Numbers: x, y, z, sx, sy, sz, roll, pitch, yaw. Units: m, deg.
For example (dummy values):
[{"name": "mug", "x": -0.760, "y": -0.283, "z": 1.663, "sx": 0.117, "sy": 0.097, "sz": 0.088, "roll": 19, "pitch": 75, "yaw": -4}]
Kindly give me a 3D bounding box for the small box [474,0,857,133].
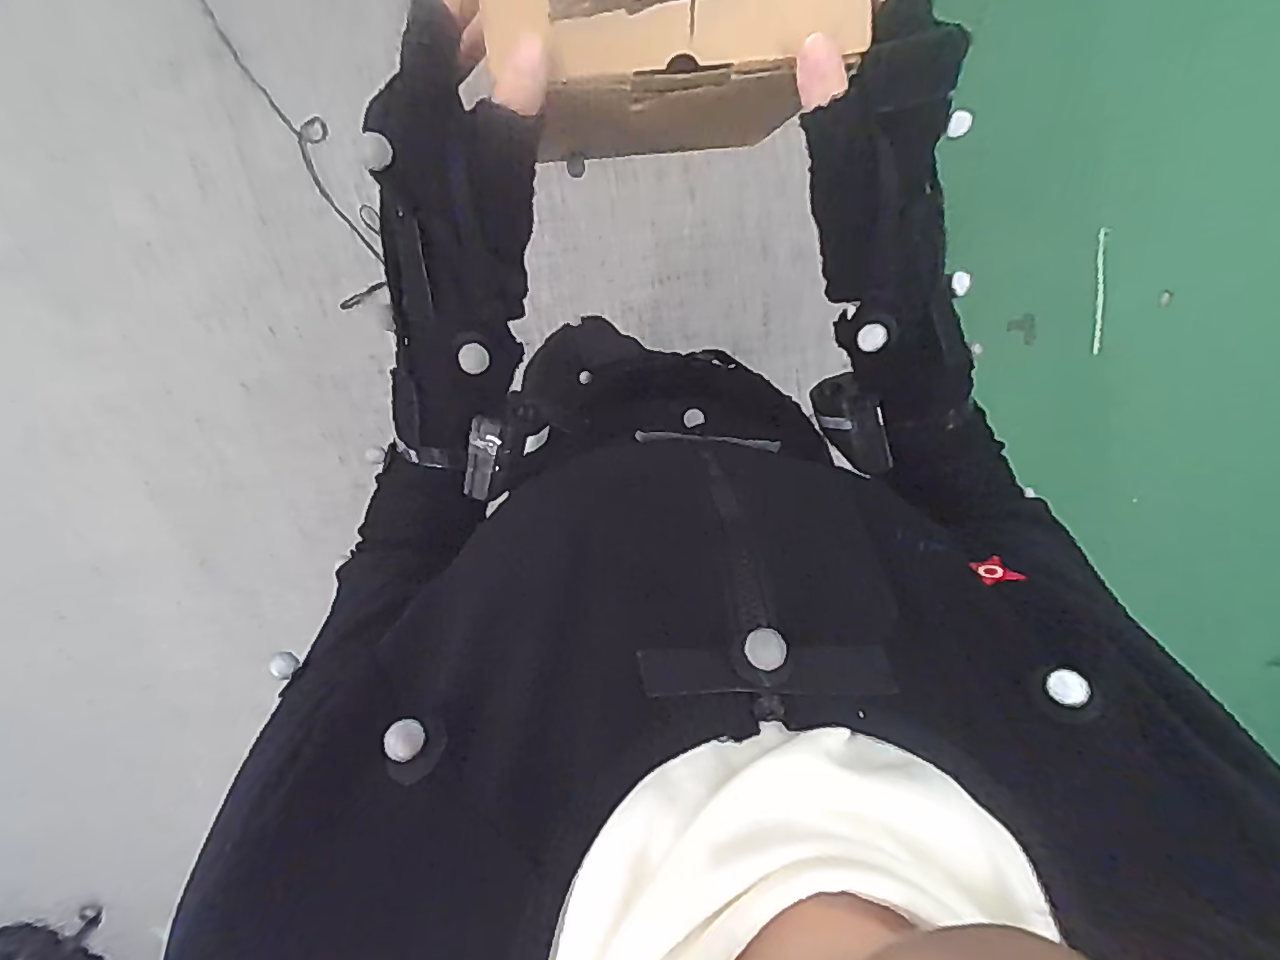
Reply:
[{"name": "small box", "x": 0.001, "y": -0.298, "z": 0.278, "sx": 0.168, "sy": 0.176, "sz": 0.179, "roll": -7, "pitch": 110, "yaw": -2}]
